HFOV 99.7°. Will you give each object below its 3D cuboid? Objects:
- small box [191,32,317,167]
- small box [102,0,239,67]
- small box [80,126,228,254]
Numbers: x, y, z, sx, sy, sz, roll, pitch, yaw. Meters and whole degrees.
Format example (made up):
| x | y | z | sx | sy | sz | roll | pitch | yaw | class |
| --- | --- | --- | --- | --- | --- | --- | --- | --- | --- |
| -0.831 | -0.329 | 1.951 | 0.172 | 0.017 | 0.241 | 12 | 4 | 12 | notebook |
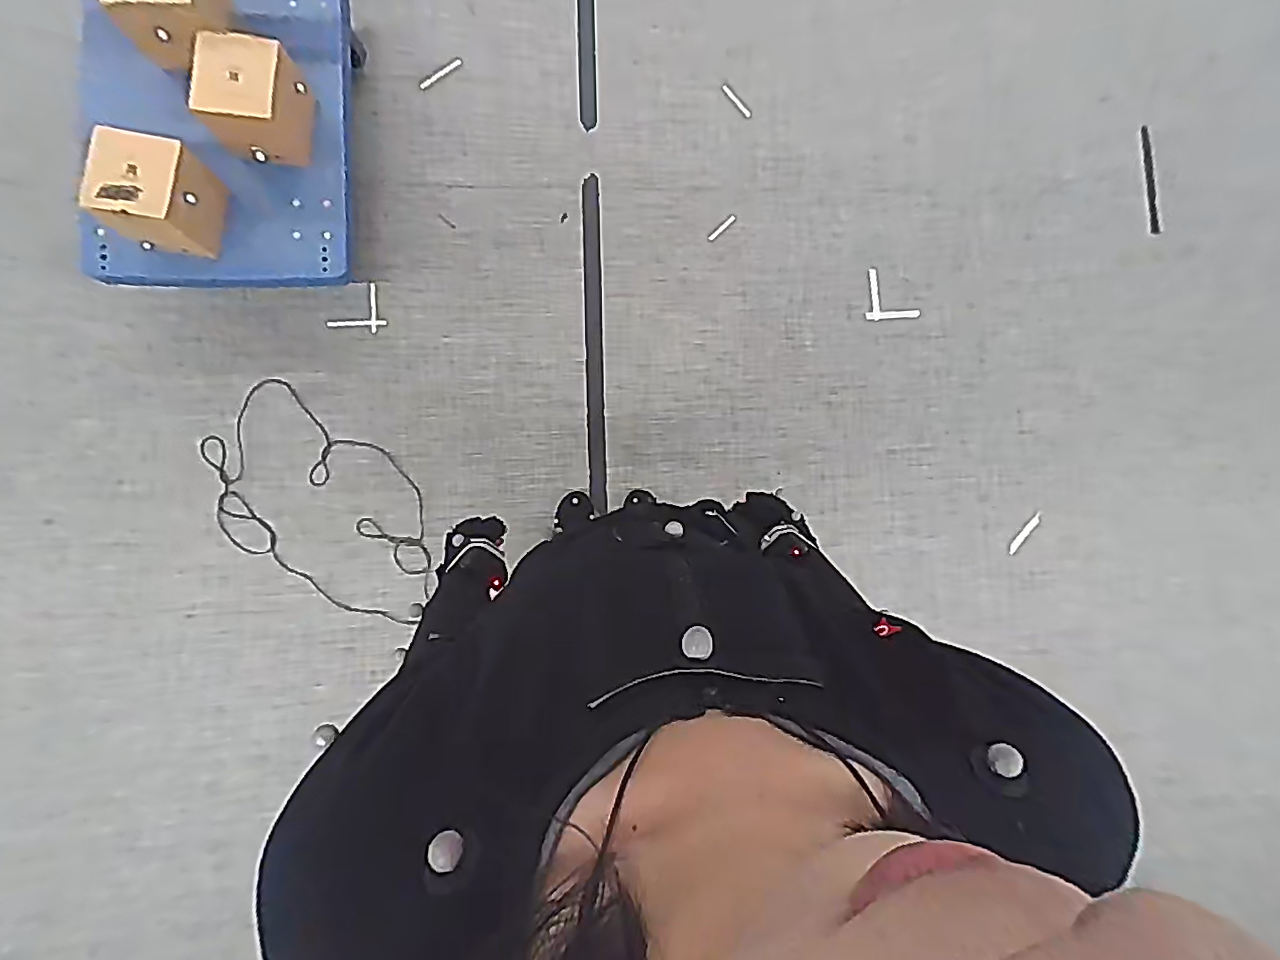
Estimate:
| x | y | z | sx | sy | sz | roll | pitch | yaw | class |
| --- | --- | --- | --- | --- | --- | --- | --- | --- | --- |
| -0.858 | -0.849 | 1.220 | 0.168 | 0.176 | 0.179 | 4 | 88 | -5 | small box |
| -1.042 | -1.066 | 1.209 | 0.179 | 0.176 | 0.168 | -6 | 88 | -6 | small box |
| -1.047 | -0.622 | 1.182 | 0.168 | 0.176 | 0.179 | 8 | 85 | -6 | small box |
